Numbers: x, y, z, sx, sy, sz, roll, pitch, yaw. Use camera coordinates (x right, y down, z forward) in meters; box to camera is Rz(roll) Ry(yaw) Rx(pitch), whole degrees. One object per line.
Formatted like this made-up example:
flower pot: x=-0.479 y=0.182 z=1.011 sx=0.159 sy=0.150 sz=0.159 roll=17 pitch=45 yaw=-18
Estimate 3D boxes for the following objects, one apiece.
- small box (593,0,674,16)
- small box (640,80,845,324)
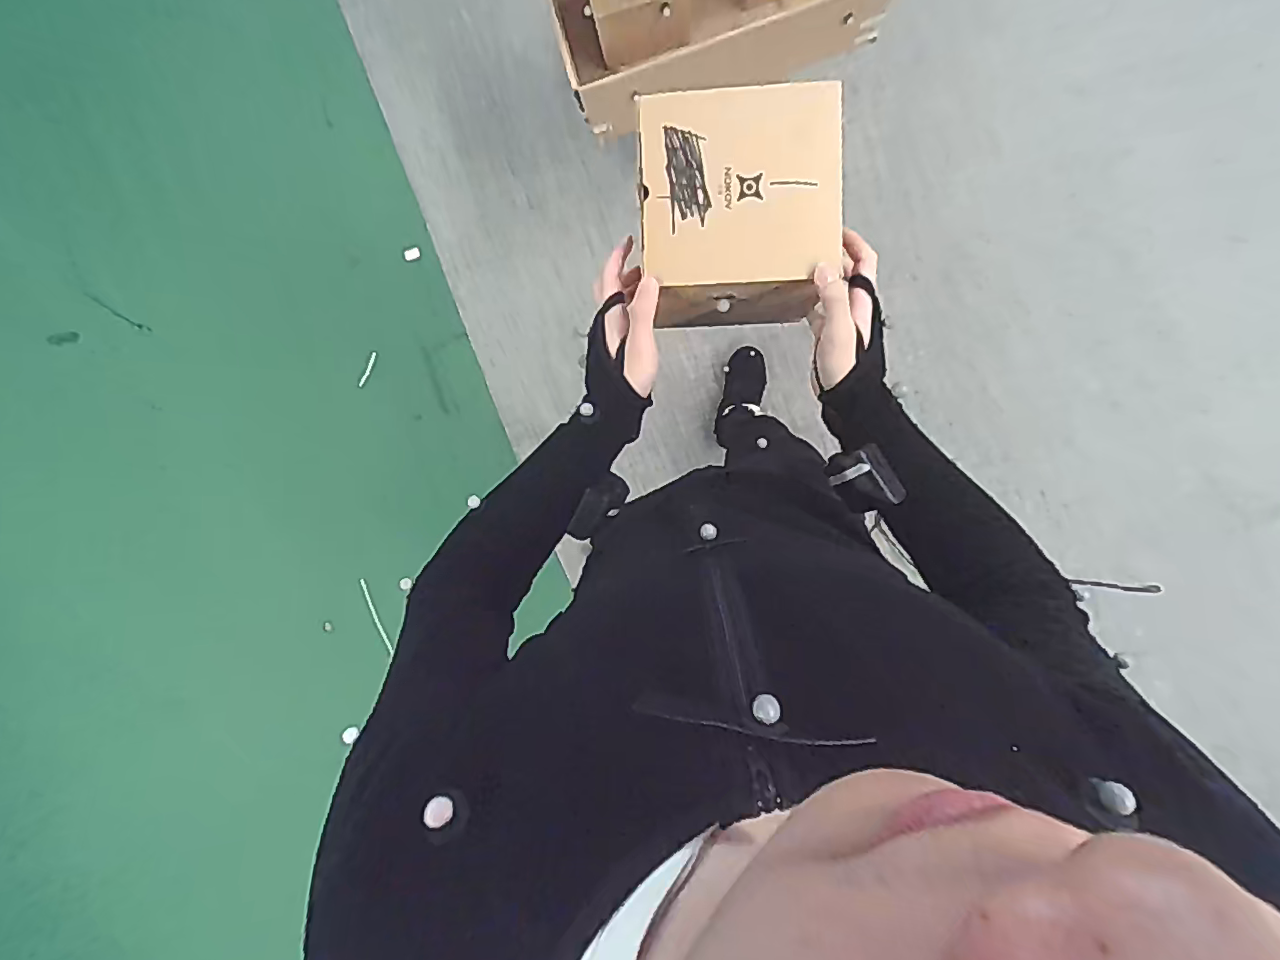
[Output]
small box: x=-0.018 y=-0.880 z=0.845 sx=0.168 sy=0.176 sz=0.179 roll=-12 pitch=96 yaw=7
small box: x=0.094 y=-0.260 z=0.546 sx=0.179 sy=0.176 sz=0.168 roll=-1 pitch=93 yaw=4
